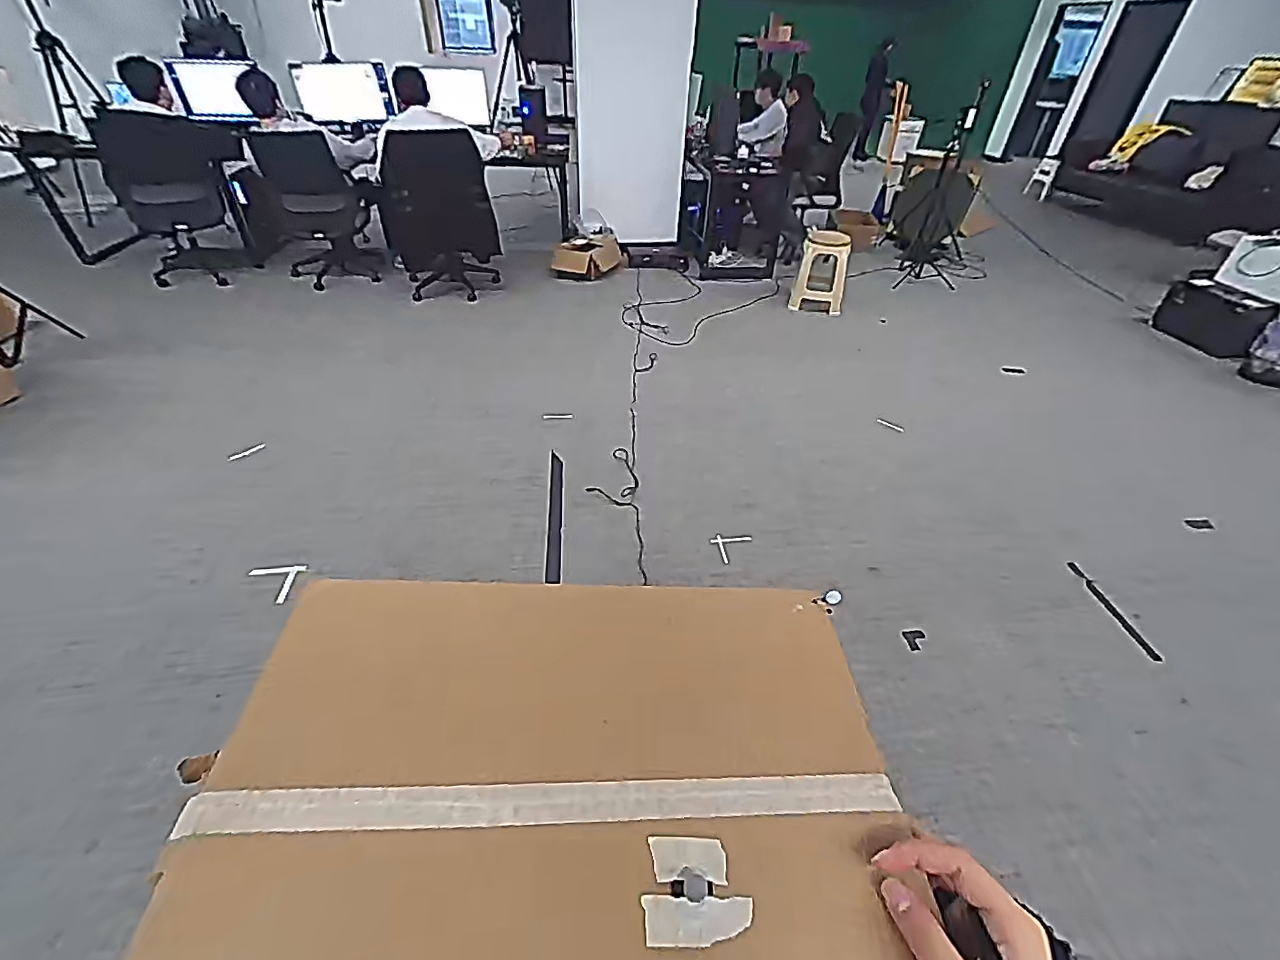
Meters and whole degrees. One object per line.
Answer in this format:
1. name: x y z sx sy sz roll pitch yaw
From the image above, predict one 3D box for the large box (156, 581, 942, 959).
1. large box: -0.058 0.301 0.430 0.408 0.320 0.320 4 43 -7
